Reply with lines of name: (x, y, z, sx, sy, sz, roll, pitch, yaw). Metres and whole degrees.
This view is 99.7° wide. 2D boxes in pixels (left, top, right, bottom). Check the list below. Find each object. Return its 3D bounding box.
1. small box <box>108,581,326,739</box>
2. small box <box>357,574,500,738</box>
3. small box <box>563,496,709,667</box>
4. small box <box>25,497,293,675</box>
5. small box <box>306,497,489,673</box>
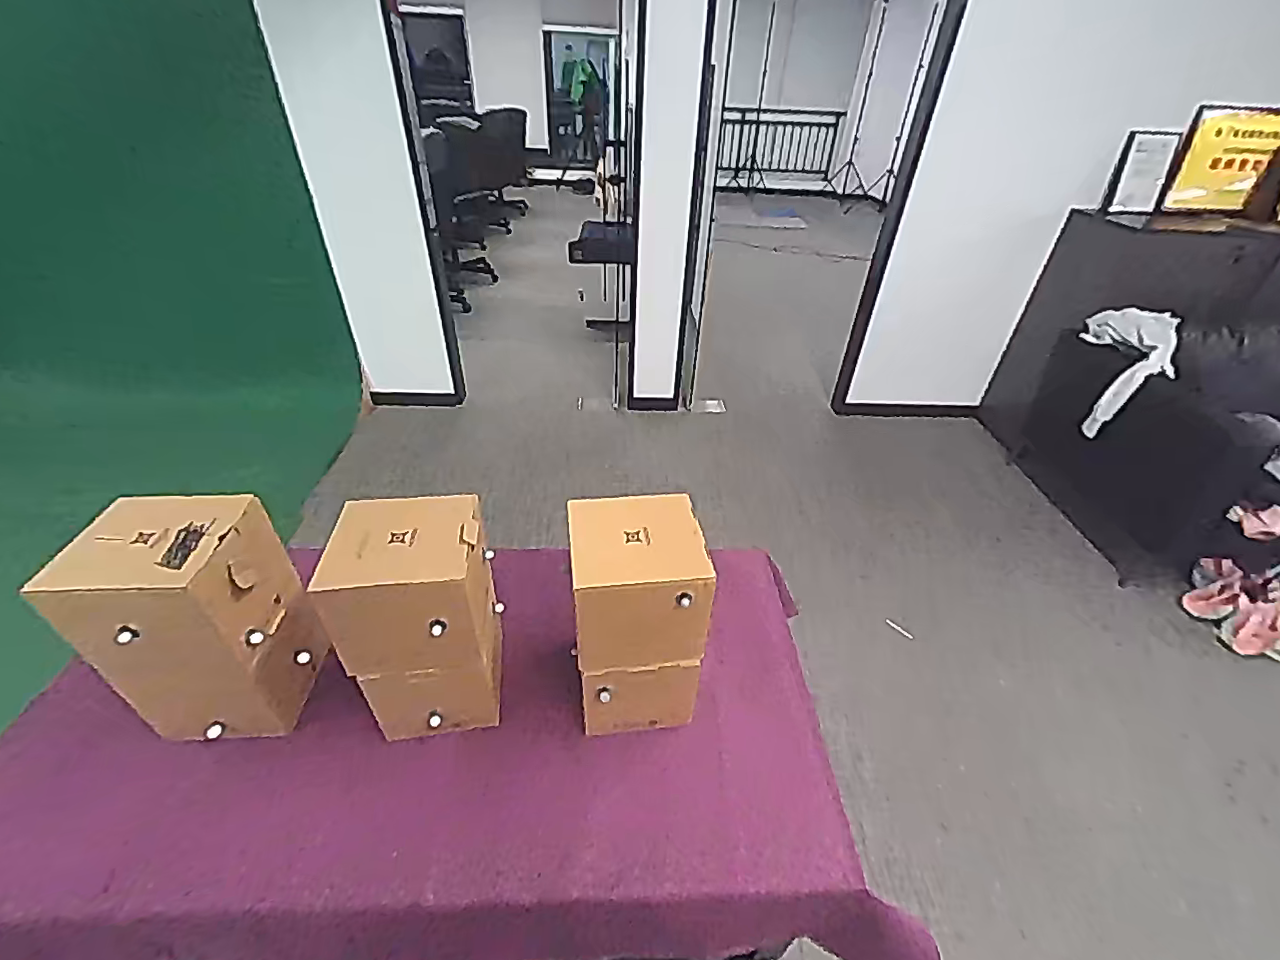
small box: (-0.610, 0.270, 0.815, 0.179, 0.176, 0.168, 0, 38, -5)
small box: (-0.312, 0.268, 0.839, 0.168, 0.176, 0.179, -4, 39, -8)
small box: (-0.013, 0.142, 0.755, 0.179, 0.176, 0.168, -3, 38, -8)
small box: (-0.603, 0.140, 0.715, 0.179, 0.176, 0.168, -1, 38, -4)
small box: (-0.308, 0.141, 0.737, 0.179, 0.176, 0.168, -3, 37, -7)
